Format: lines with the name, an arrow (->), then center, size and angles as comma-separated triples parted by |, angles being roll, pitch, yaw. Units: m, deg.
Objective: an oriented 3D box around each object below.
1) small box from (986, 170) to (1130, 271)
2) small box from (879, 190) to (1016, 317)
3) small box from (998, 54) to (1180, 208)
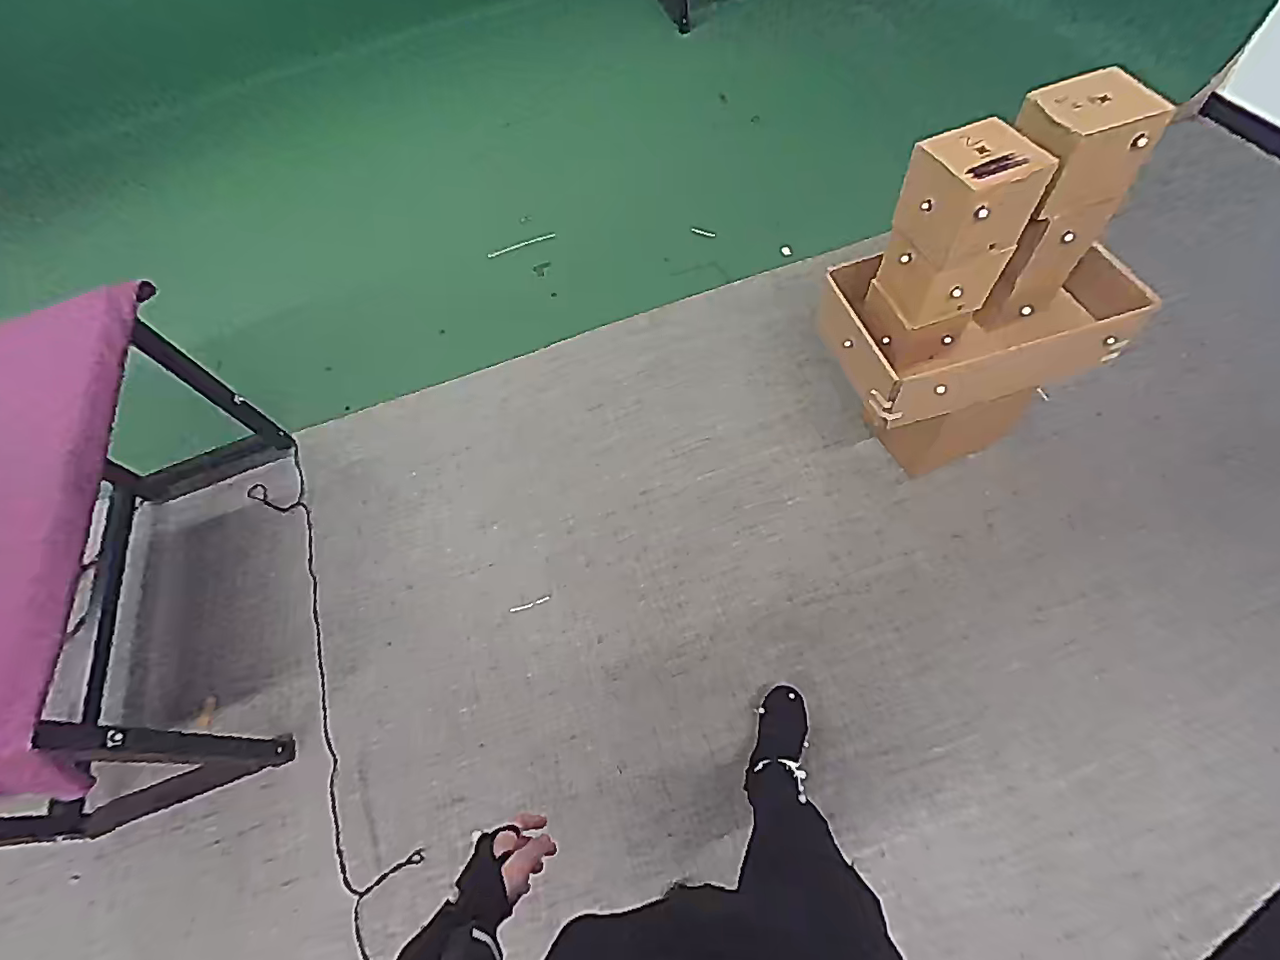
small box -> 0.886, -0.594, 1.182 | 0.179, 0.176, 0.168 | -23, 61, -1
small box -> 0.648, -0.477, 1.163 | 0.168, 0.176, 0.179 | -19, 60, -2
small box -> 0.842, -0.663, 1.038 | 0.179, 0.176, 0.168 | -17, 60, 3
